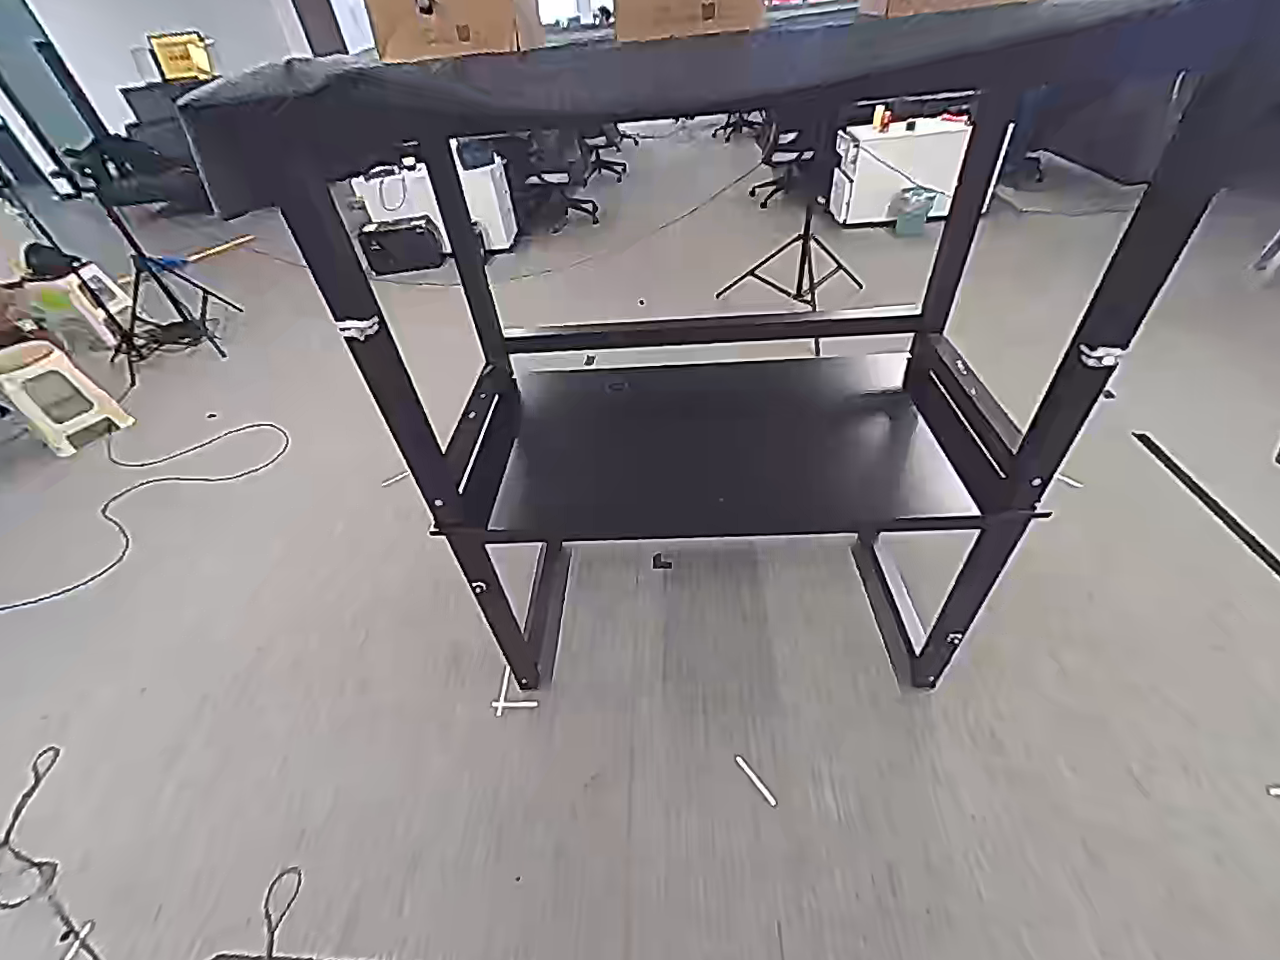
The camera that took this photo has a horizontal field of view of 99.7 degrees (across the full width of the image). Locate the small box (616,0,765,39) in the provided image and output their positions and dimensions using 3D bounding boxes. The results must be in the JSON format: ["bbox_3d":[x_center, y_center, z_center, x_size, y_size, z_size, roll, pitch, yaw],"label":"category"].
[{"bbox_3d":[0.055,-0.611,0.610,0.168,0.176,0.179,-2,40,6],"label":"small box"}]

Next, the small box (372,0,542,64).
[{"bbox_3d":[-0.217,-0.599,0.632,0.168,0.176,0.179,-2,41,3],"label":"small box"}]

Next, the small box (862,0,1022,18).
[{"bbox_3d":[0.353,-0.624,0.589,0.168,0.176,0.179,1,41,8],"label":"small box"}]
